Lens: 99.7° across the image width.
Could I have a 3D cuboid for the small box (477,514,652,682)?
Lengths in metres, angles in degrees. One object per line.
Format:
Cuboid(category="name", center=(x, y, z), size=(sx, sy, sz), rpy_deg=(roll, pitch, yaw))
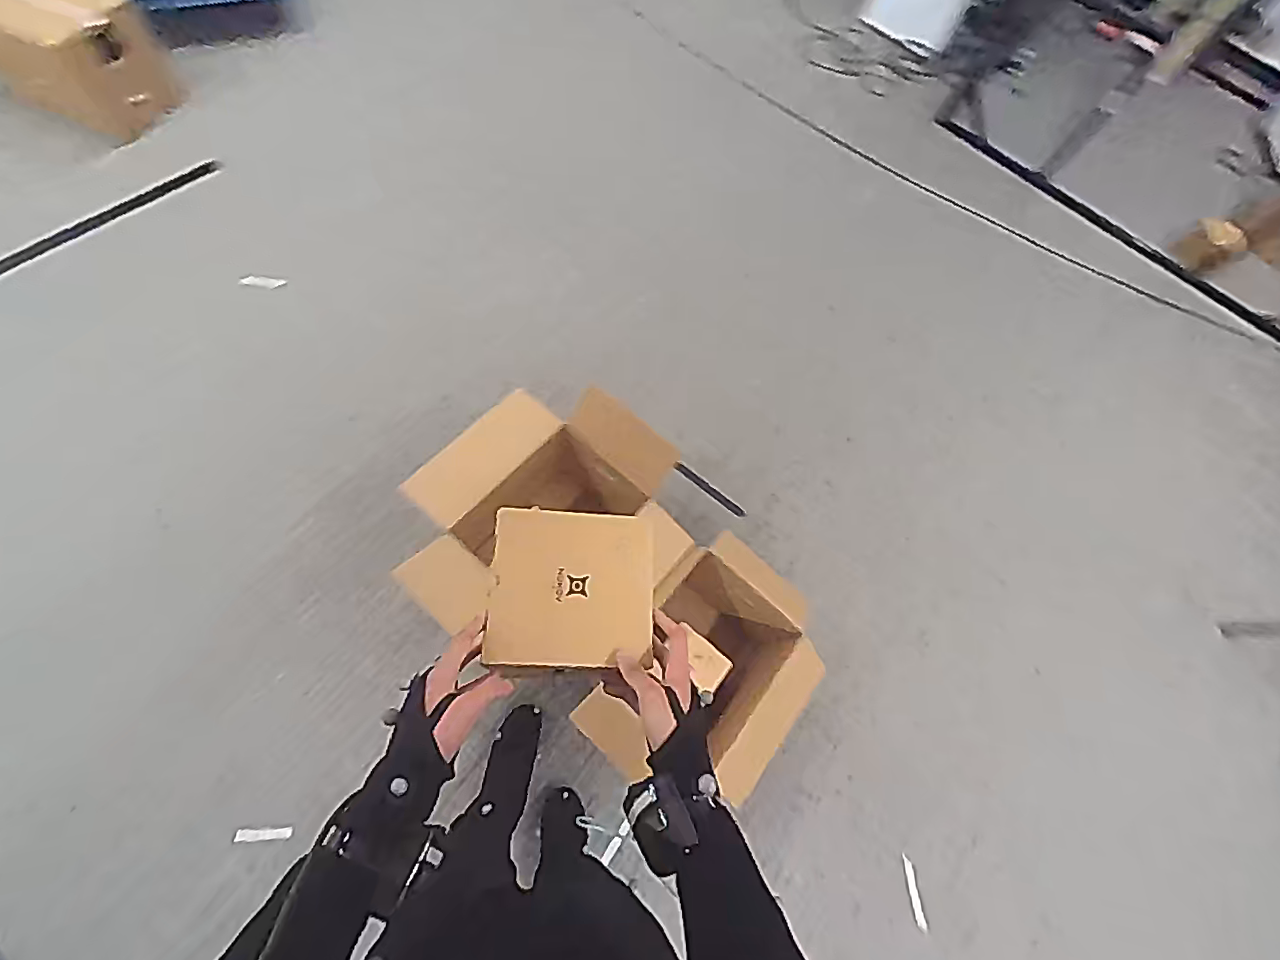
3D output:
Cuboid(category="small box", center=(-0.086, 0.148, 0.644), size=(0.179, 0.176, 0.168), rpy_deg=(3, 66, -8))
